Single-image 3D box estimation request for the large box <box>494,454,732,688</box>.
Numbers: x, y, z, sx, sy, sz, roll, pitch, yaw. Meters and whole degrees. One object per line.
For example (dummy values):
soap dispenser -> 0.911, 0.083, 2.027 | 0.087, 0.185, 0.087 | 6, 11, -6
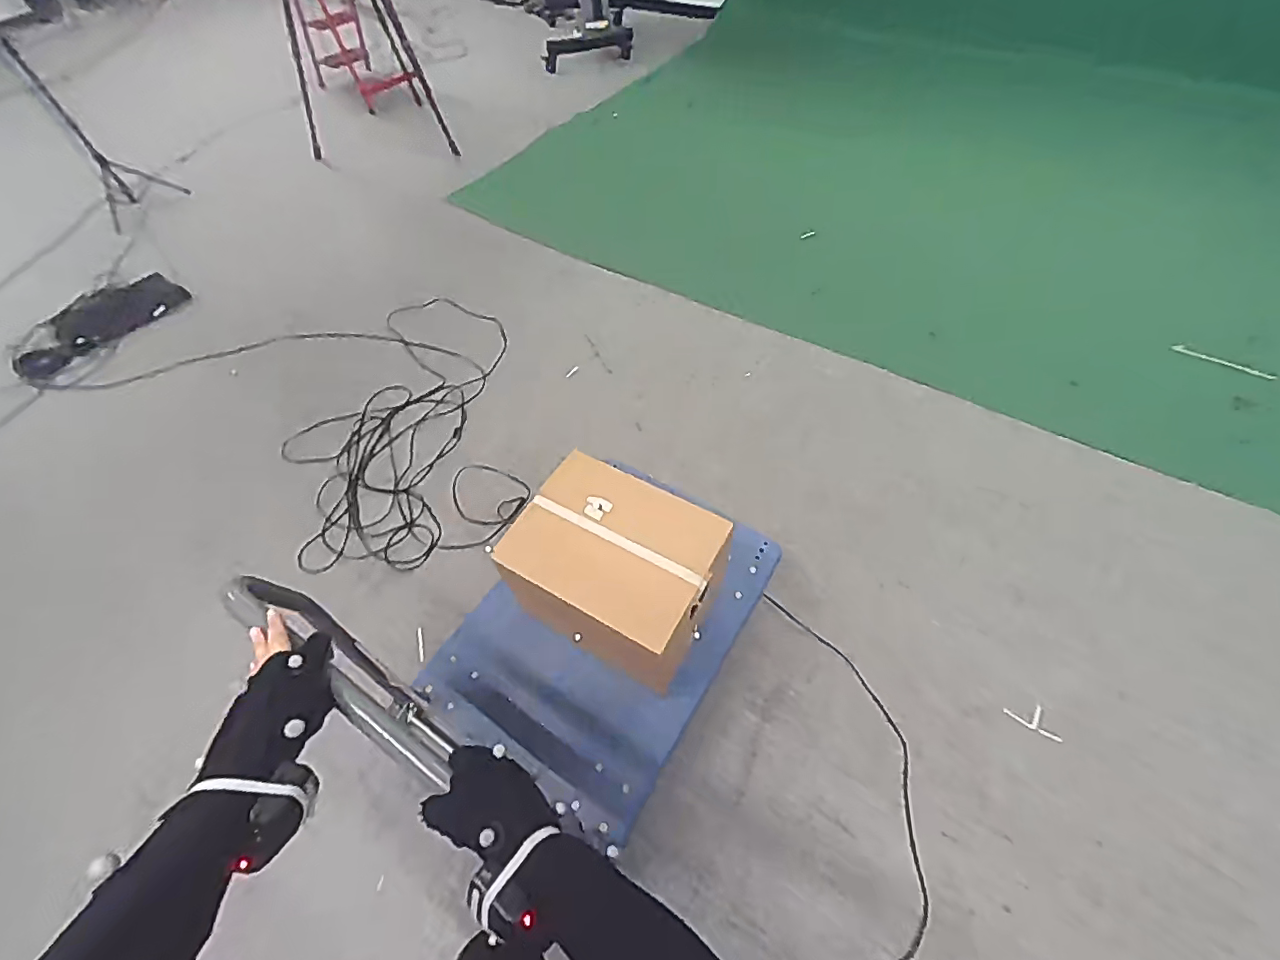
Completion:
large box -> -0.043, 0.208, 1.230 | 0.408, 0.320, 0.320 | 25, 60, 20
